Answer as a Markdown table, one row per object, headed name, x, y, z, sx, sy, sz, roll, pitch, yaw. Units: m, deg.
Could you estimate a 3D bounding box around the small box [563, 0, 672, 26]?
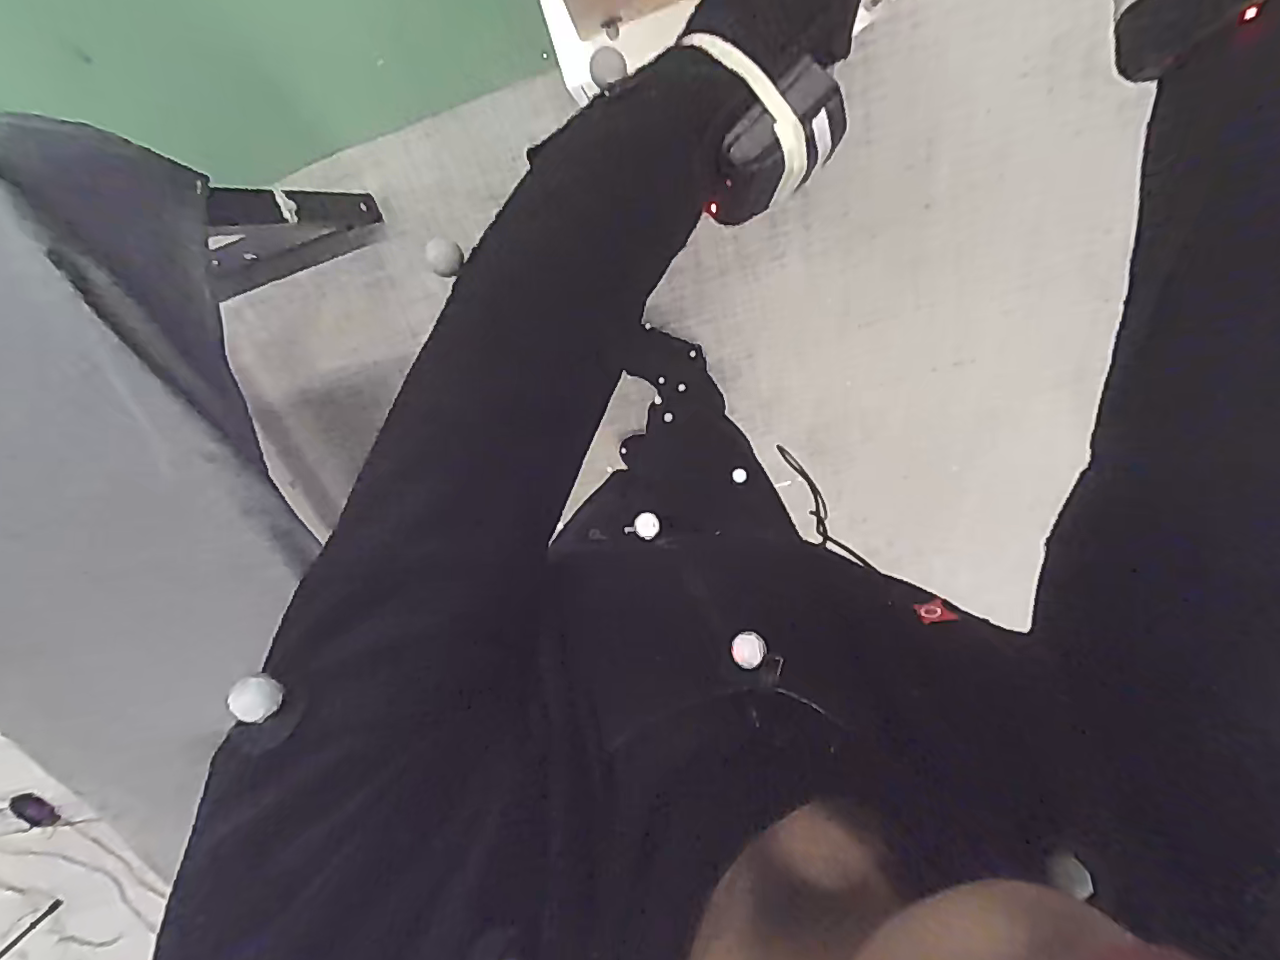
| name | x | y | z | sx | sy | sz | roll | pitch | yaw |
| --- | --- | --- | --- | --- | --- | --- | --- | --- | --- |
| small box | -0.007 | -0.482 | 0.404 | 0.168 | 0.176 | 0.179 | -15 | 113 | 8 |
